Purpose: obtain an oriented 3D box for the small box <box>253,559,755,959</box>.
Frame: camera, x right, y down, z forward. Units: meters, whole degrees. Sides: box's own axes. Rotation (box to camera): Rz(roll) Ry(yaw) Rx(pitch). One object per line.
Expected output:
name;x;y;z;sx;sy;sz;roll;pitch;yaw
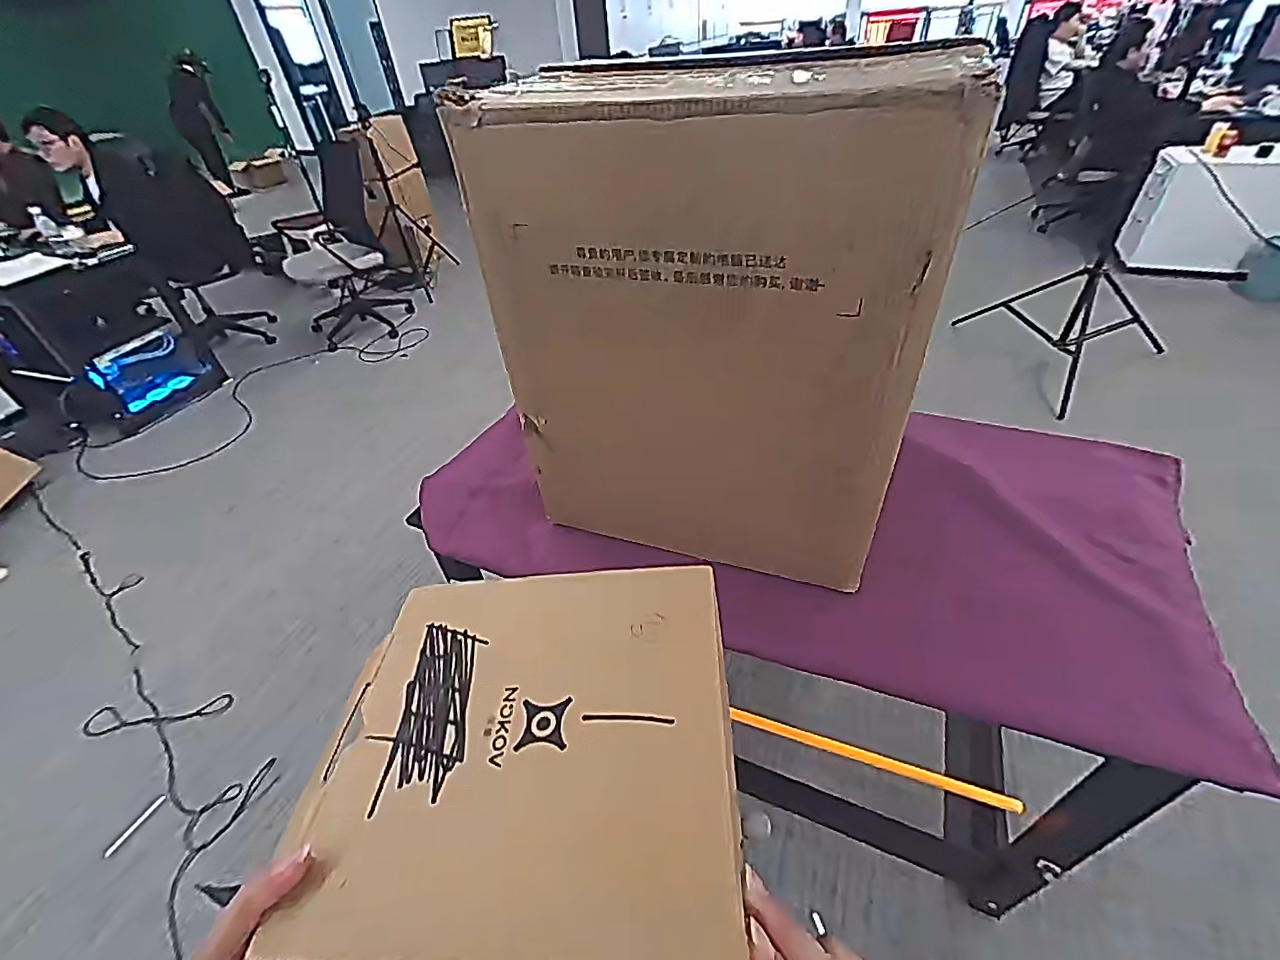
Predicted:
small box;-0.036;0.163;0.287;0.179;0.176;0.168;-5;40;7
